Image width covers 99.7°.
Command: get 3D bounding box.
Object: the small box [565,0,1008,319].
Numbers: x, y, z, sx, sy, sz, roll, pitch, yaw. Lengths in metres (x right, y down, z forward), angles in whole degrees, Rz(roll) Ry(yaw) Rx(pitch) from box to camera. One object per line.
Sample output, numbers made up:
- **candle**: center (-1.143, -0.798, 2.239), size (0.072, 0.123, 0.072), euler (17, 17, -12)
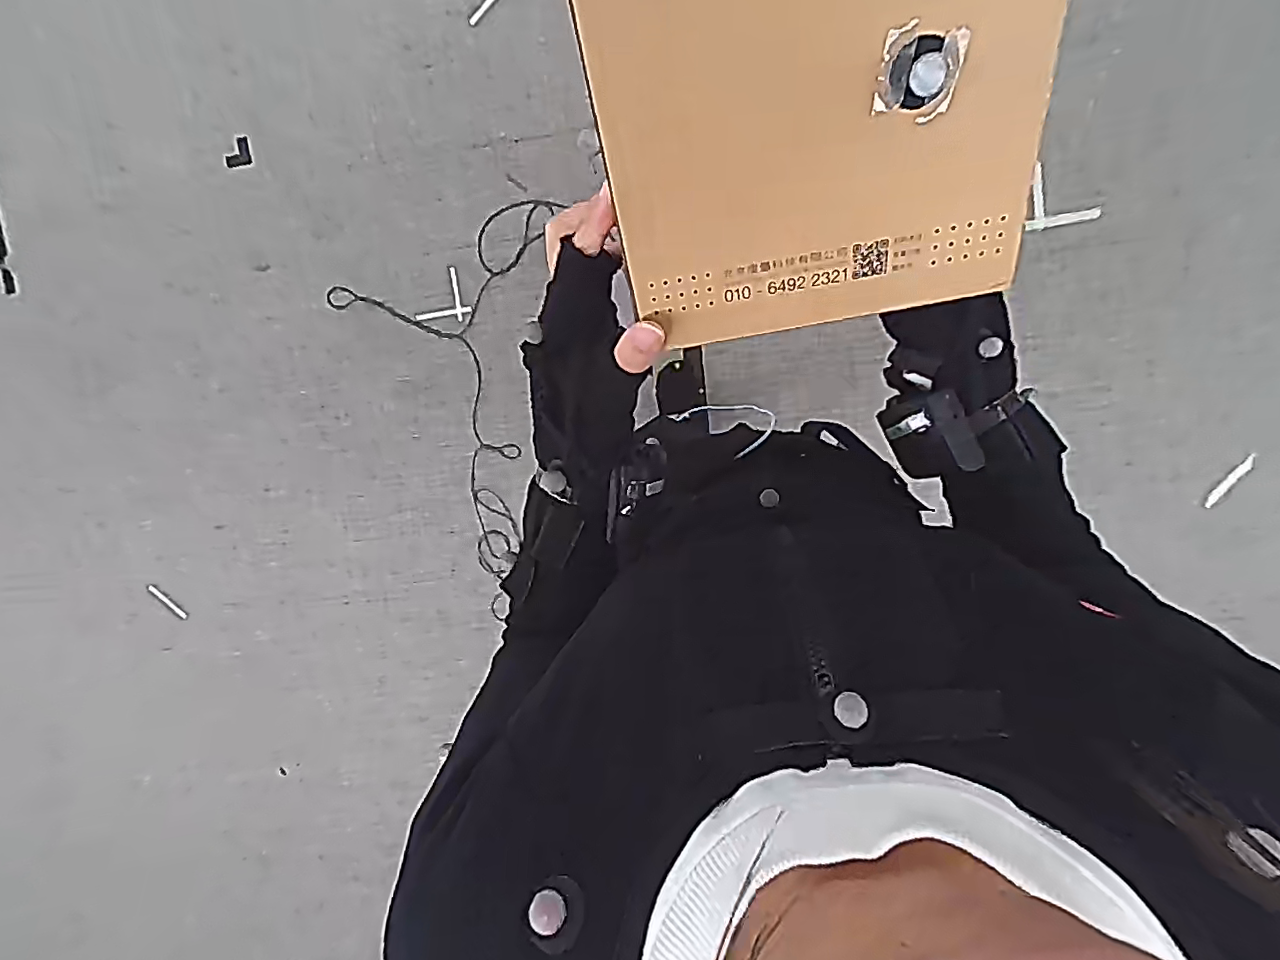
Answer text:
- **small box**: center (0.070, -0.196, 0.286), size (0.168, 0.179, 0.176), euler (-7, 126, 10)
